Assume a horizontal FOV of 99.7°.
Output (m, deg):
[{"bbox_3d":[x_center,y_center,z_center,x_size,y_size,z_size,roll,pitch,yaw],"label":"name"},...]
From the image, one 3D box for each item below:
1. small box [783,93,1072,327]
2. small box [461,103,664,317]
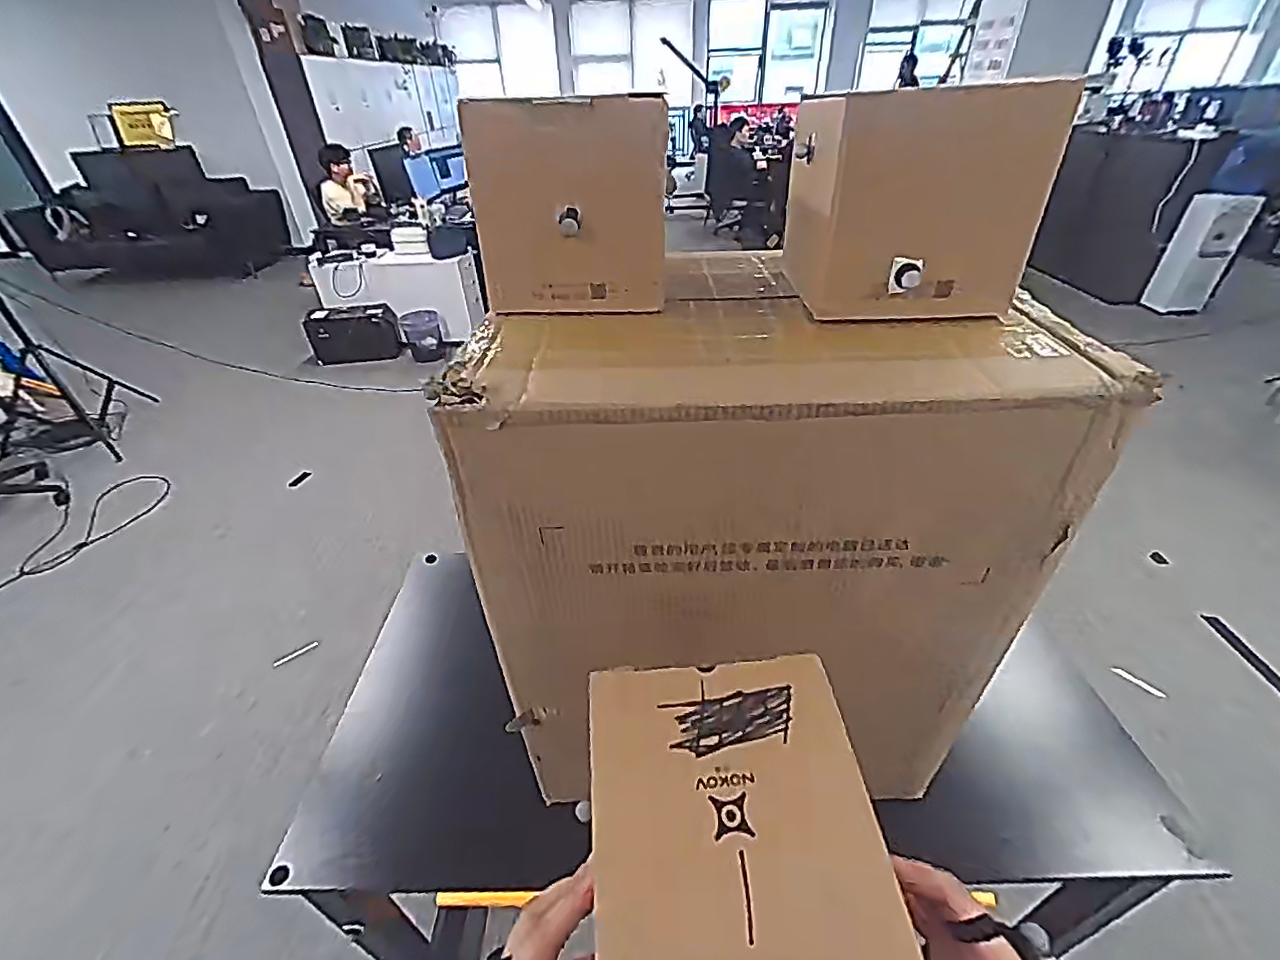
[{"bbox_3d":[0.234,-0.250,0.503,0.168,0.176,0.179,-2,35,4],"label":"small box"},{"bbox_3d":[-0.060,-0.269,0.540,0.168,0.176,0.179,0,35,0],"label":"small box"}]
